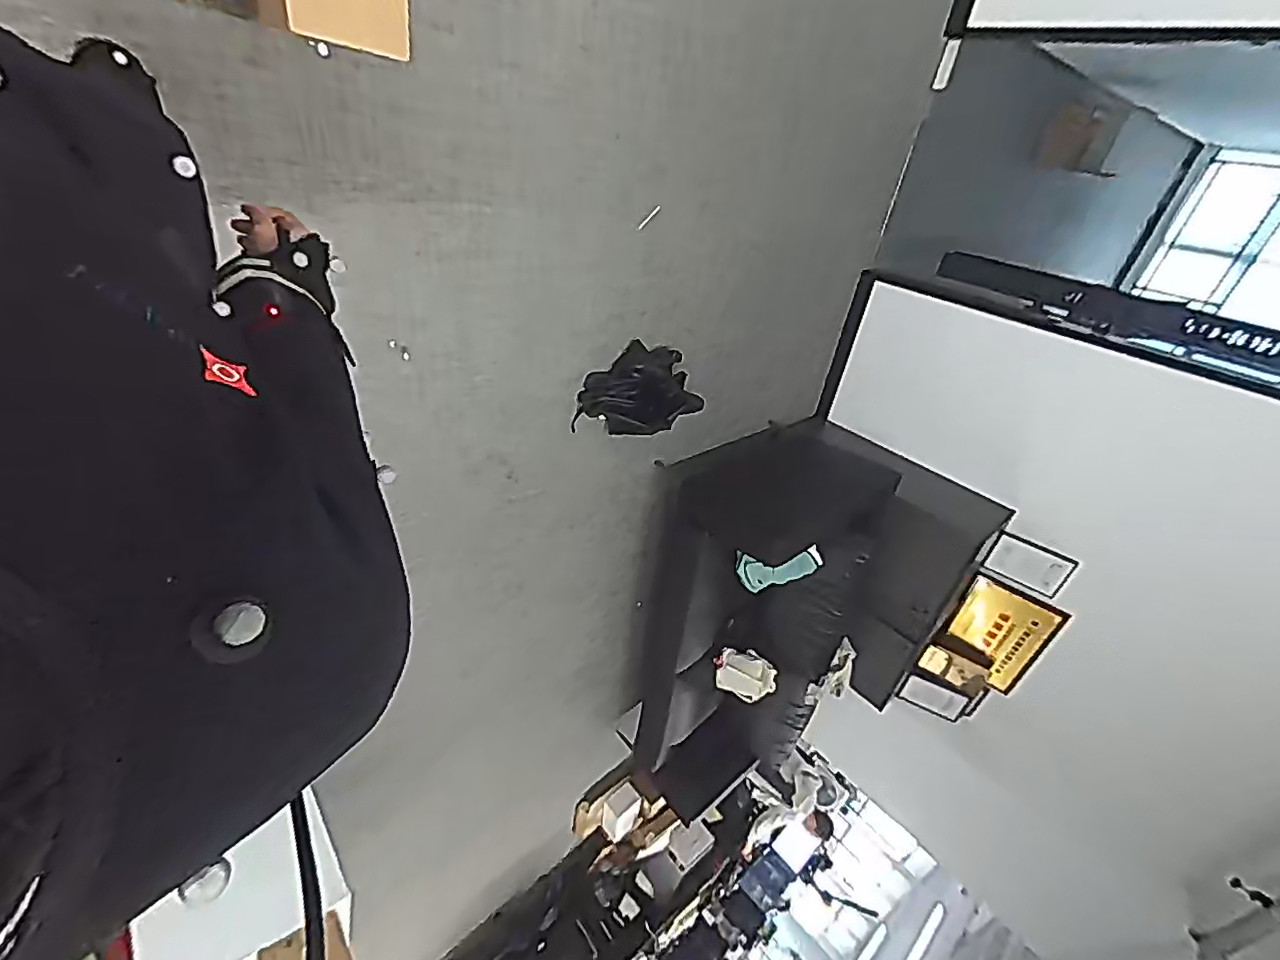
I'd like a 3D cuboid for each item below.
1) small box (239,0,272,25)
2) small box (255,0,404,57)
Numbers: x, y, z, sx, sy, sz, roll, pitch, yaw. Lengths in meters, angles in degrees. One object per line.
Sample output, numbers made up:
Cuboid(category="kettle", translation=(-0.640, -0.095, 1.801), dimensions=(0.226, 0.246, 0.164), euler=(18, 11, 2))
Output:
Cuboid(category="small box", translation=(-0.554, -0.844, 0.882), dimensions=(0.168, 0.176, 0.179), euler=(-18, 131, -40))
Cuboid(category="small box", translation=(-0.460, -0.749, 0.788), dimensions=(0.168, 0.176, 0.179), euler=(-17, 131, -39))
